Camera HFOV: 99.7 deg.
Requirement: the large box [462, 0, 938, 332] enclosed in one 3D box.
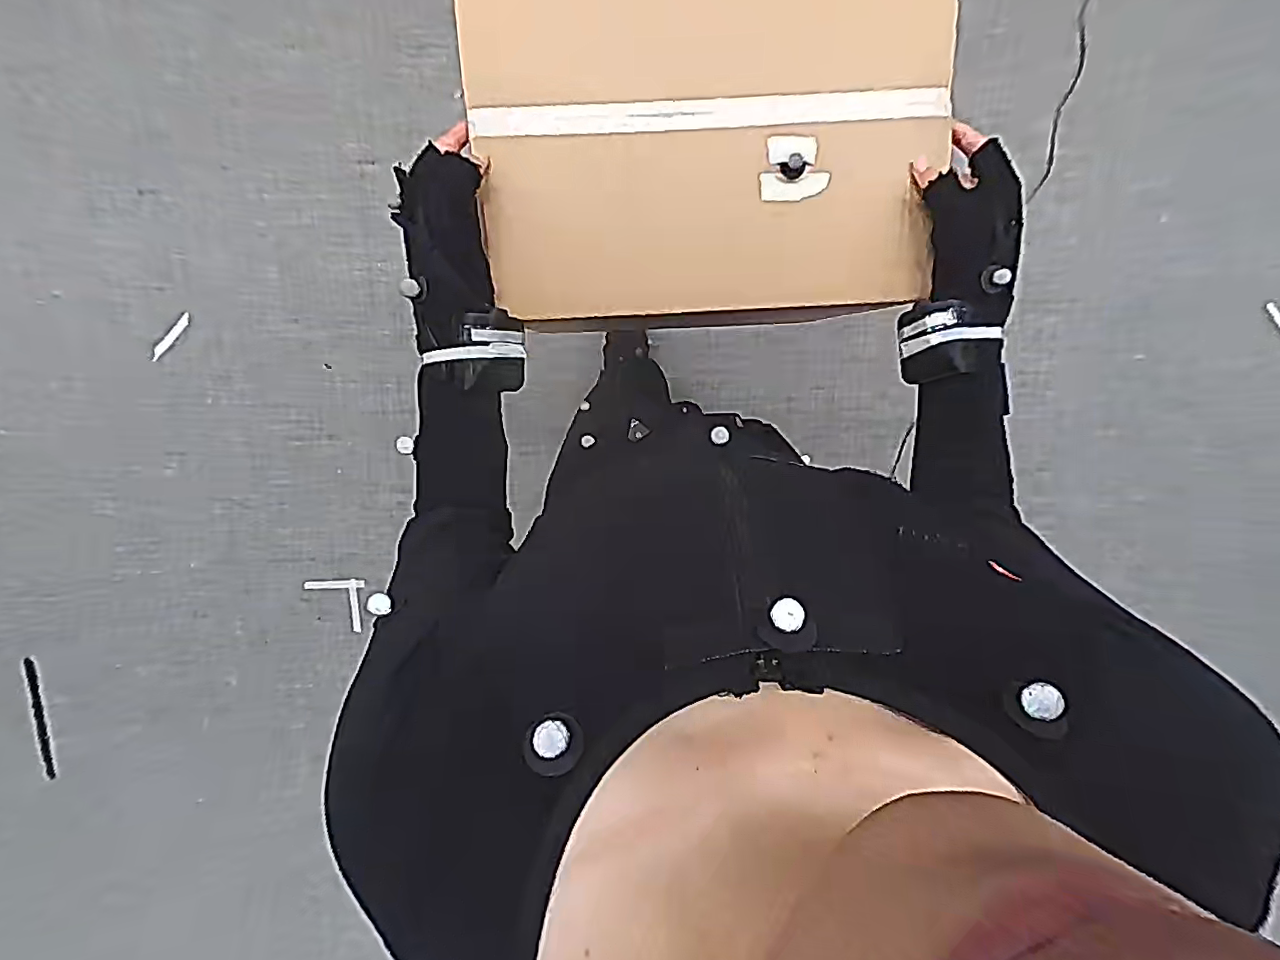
[{"bbox_3d":[0.049,-0.347,0.612,0.408,0.320,0.320,-3,103,-2],"label":"large box"}]
